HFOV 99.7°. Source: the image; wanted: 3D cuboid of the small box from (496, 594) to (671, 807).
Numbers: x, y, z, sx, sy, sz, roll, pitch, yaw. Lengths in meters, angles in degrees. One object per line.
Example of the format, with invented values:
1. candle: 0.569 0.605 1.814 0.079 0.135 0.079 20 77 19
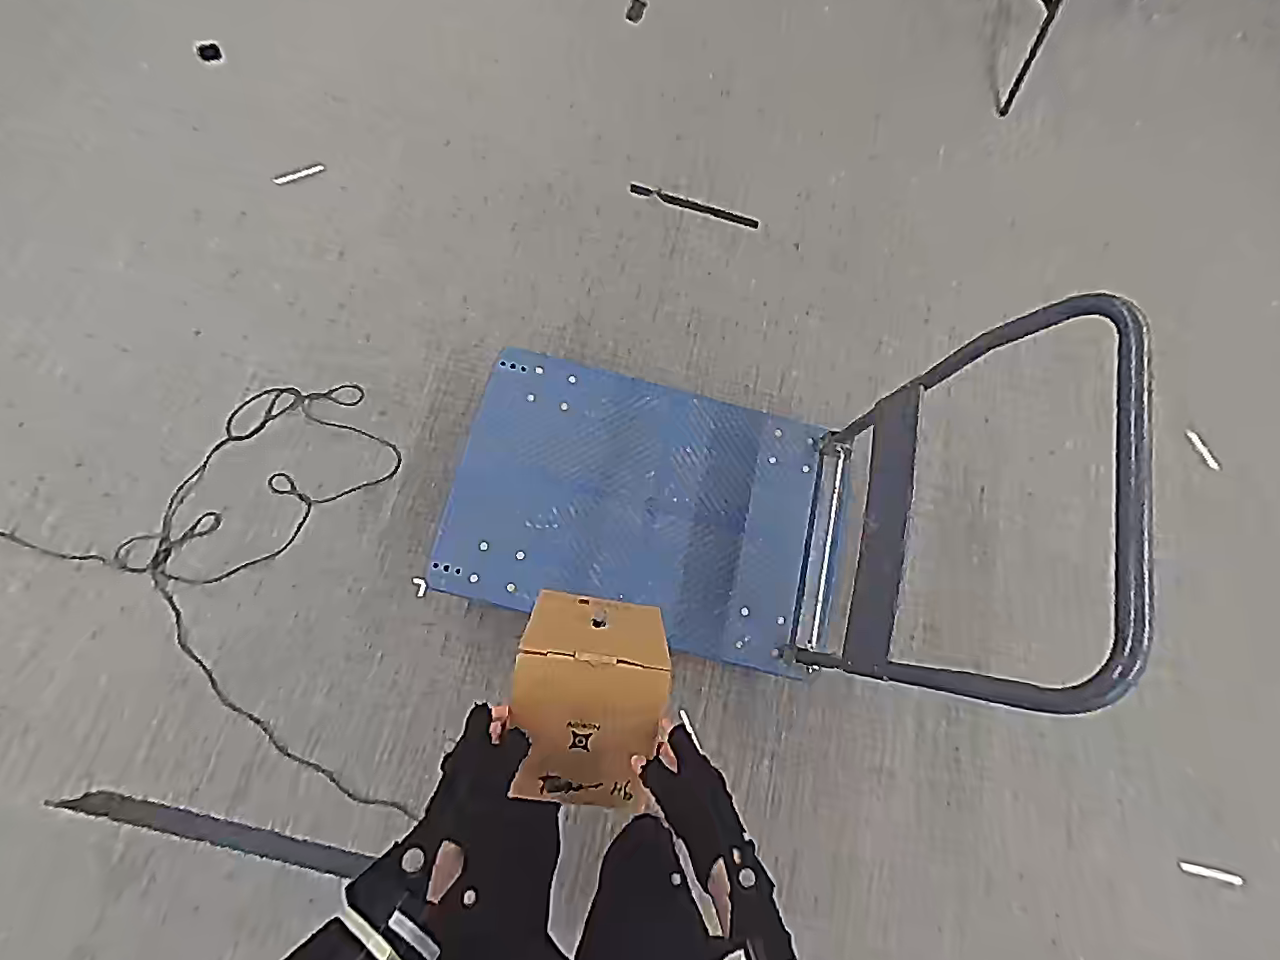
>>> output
1. small box: -0.066 0.256 0.664 0.168 0.176 0.179 10 97 -4
